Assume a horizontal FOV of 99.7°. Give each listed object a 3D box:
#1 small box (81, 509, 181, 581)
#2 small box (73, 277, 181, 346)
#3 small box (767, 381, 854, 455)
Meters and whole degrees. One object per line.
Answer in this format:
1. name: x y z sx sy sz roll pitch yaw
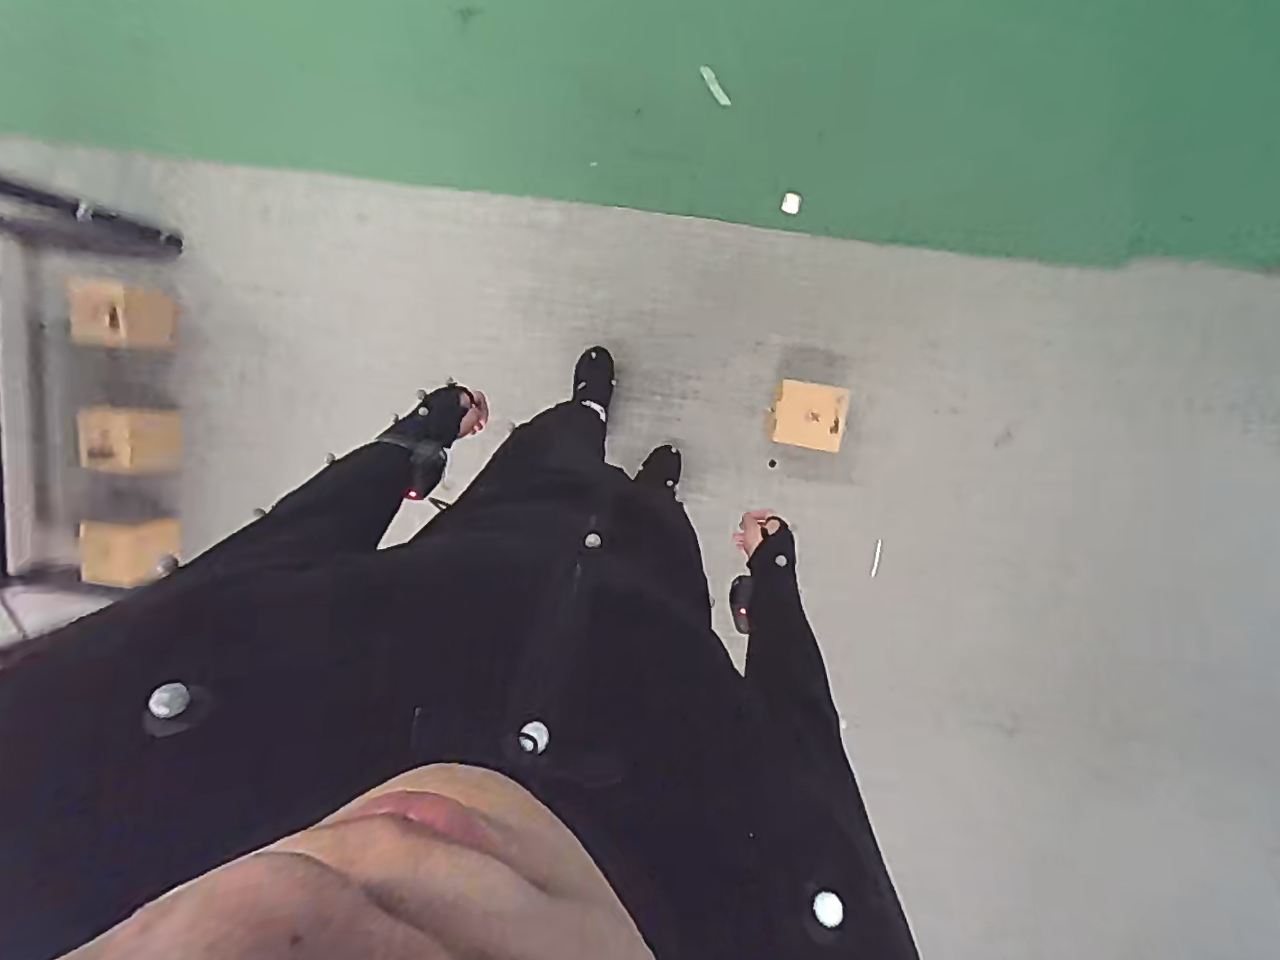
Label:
1. small box: -1.601 0.199 1.709 0.168 0.176 0.179 8 98 5
2. small box: -1.515 -0.497 1.611 0.179 0.176 0.168 6 97 6
3. small box: 0.452 -0.167 1.465 0.179 0.176 0.168 11 98 4
